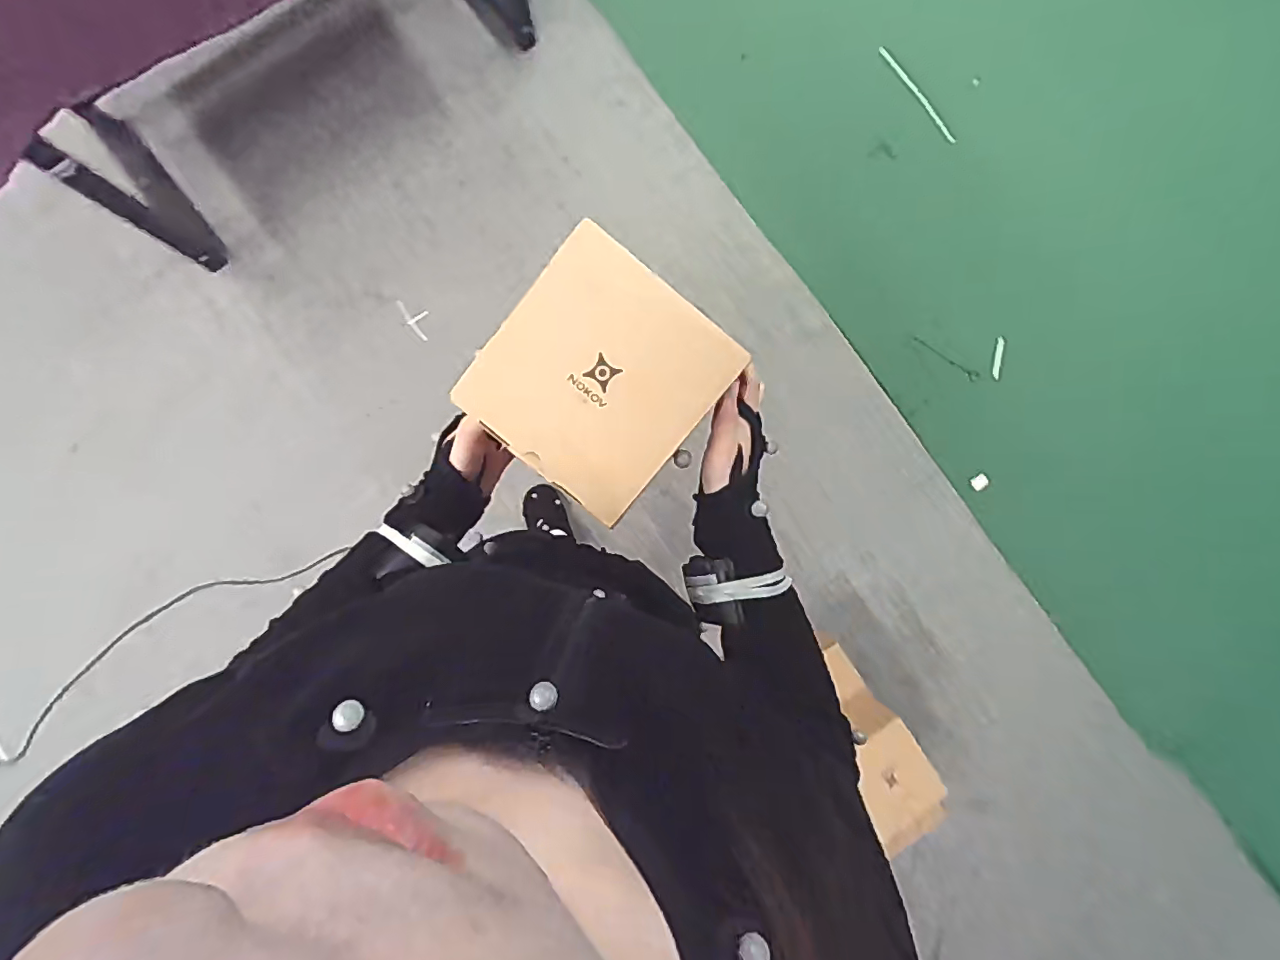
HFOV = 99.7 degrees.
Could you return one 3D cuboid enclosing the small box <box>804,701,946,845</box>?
[{"bbox_3d":[0.464,0.577,1.101,0.168,0.176,0.179,-32,89,-4],"label":"small box"}]
